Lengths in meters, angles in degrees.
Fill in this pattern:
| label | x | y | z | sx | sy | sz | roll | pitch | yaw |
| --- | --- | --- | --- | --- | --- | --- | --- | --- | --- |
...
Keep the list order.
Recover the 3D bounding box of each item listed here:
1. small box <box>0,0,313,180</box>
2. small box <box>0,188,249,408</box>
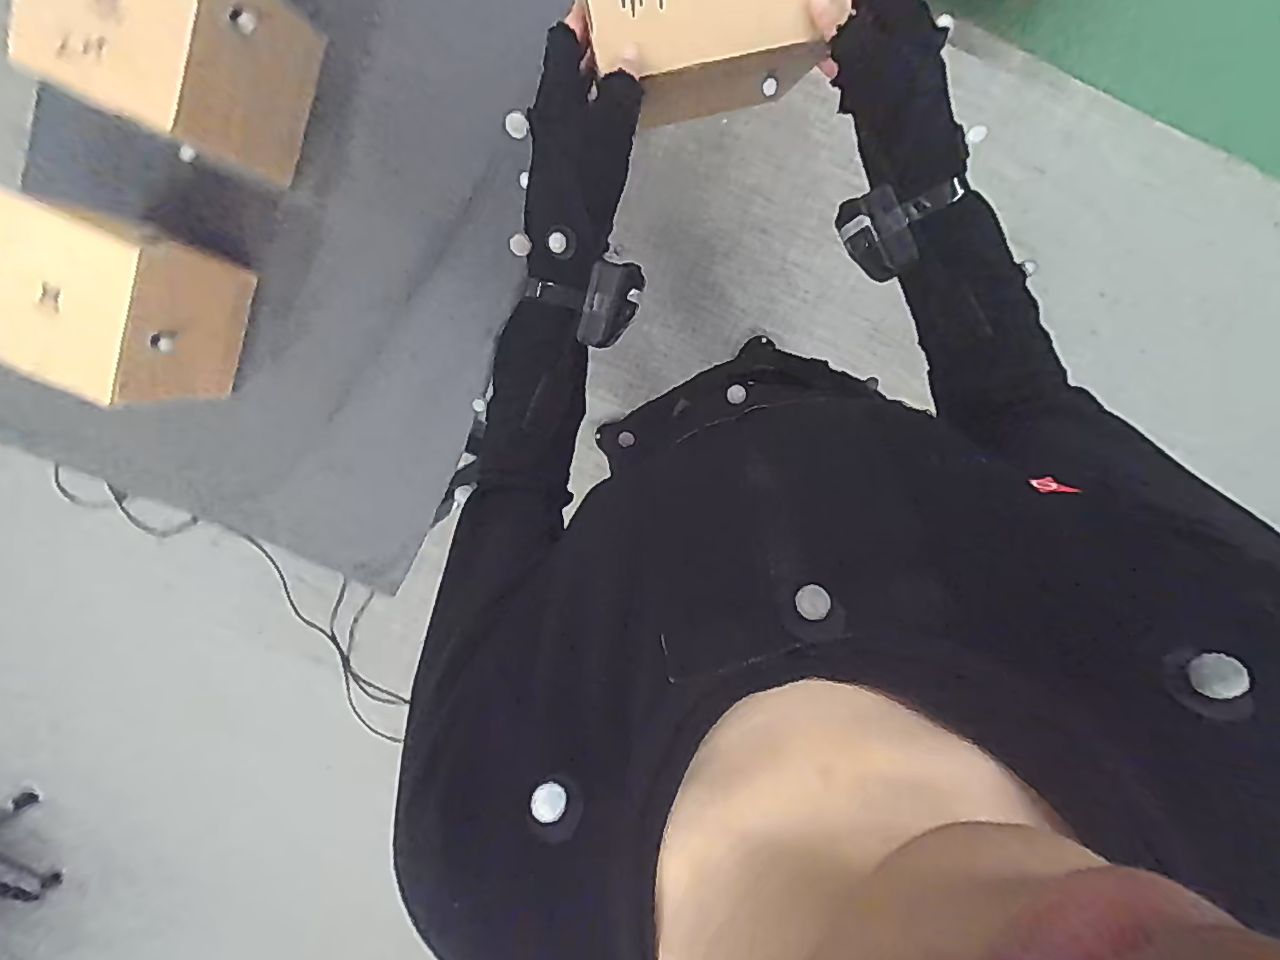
| label | x | y | z | sx | sy | sz | roll | pitch | yaw |
| --- | --- | --- | --- | --- | --- | --- | --- | --- | --- |
| small box | -0.482 | -0.454 | 0.564 | 0.168 | 0.176 | 0.179 | 23 | 104 | -2 |
| small box | -0.607 | -0.205 | 0.635 | 0.168 | 0.176 | 0.179 | 23 | 104 | -3 |
